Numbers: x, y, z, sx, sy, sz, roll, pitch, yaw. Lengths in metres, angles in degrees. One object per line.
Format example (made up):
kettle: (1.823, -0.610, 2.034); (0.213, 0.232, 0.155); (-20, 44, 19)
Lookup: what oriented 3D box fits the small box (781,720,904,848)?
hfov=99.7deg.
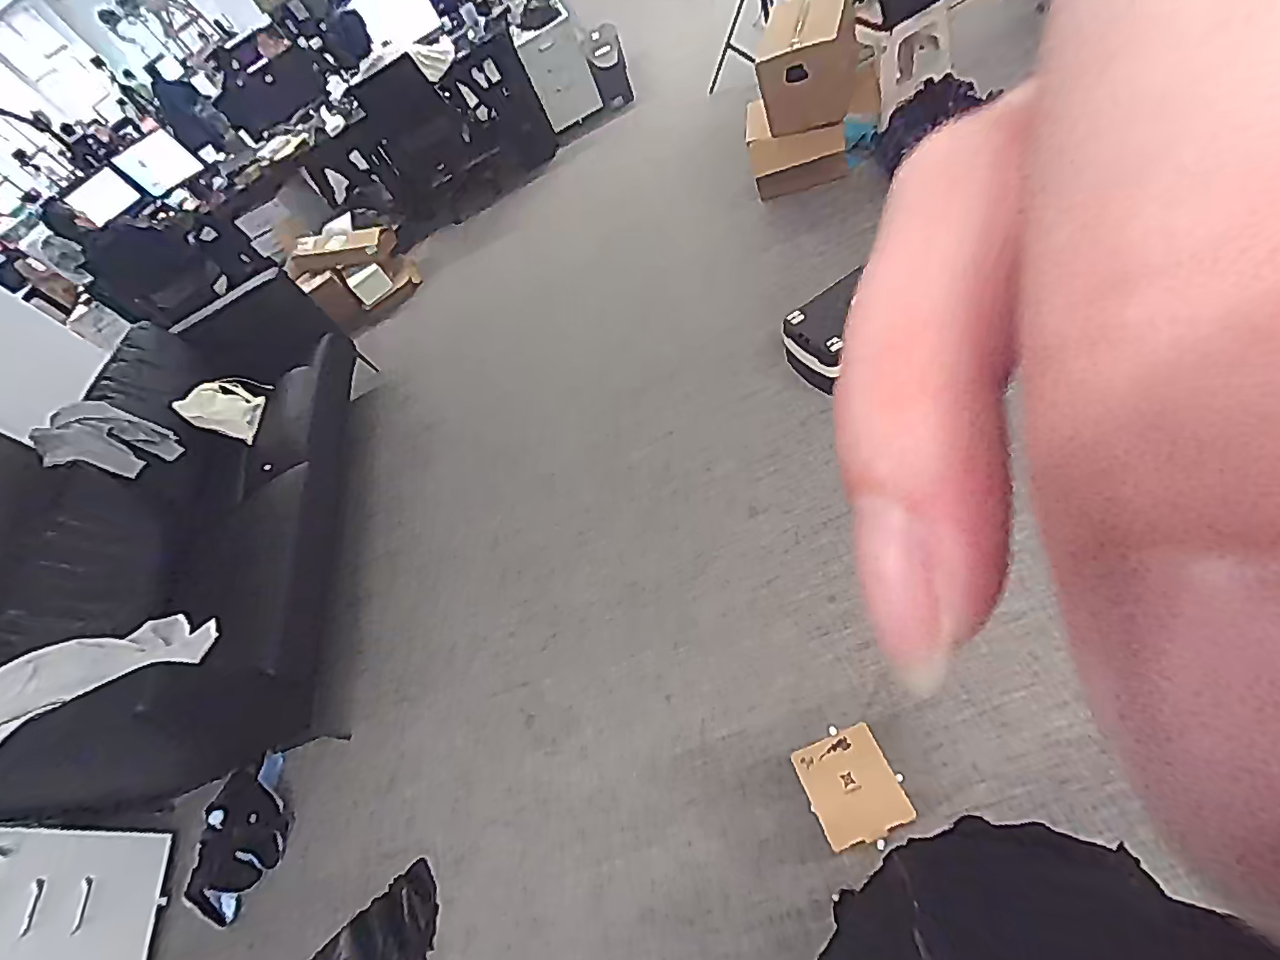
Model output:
small box: (0.410, 0.614, 1.094); (0.168, 0.176, 0.179); (-27, 52, 6)
